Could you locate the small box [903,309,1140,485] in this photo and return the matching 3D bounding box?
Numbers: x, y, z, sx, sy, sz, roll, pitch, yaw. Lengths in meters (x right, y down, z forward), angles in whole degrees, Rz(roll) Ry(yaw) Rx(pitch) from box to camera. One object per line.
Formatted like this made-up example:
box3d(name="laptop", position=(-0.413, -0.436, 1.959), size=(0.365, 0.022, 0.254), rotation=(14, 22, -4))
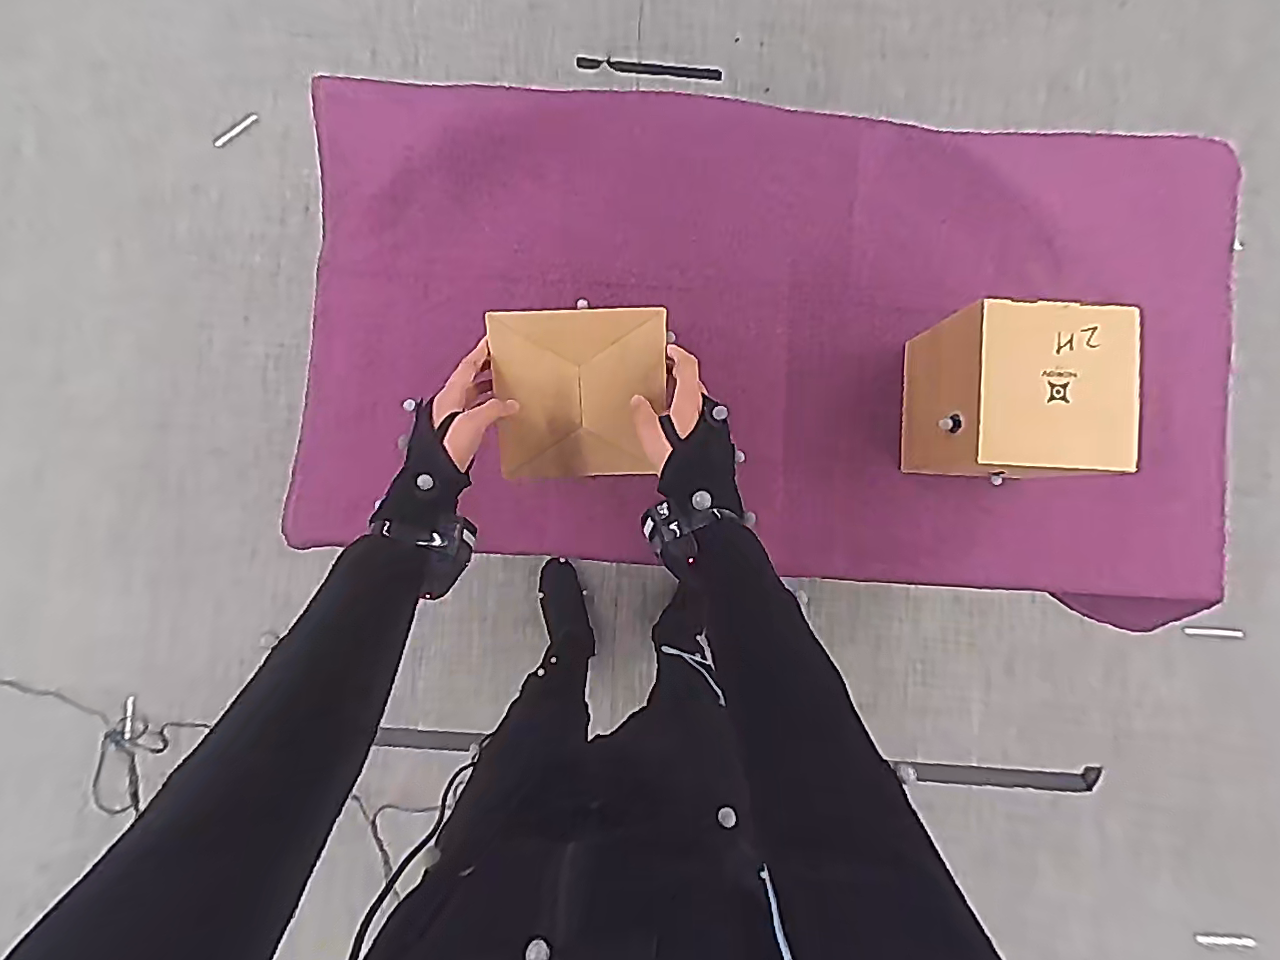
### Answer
box3d(name="small box", position=(0.434, -0.085, 0.643), size=(0.168, 0.176, 0.179), rotation=(4, 88, 0))
